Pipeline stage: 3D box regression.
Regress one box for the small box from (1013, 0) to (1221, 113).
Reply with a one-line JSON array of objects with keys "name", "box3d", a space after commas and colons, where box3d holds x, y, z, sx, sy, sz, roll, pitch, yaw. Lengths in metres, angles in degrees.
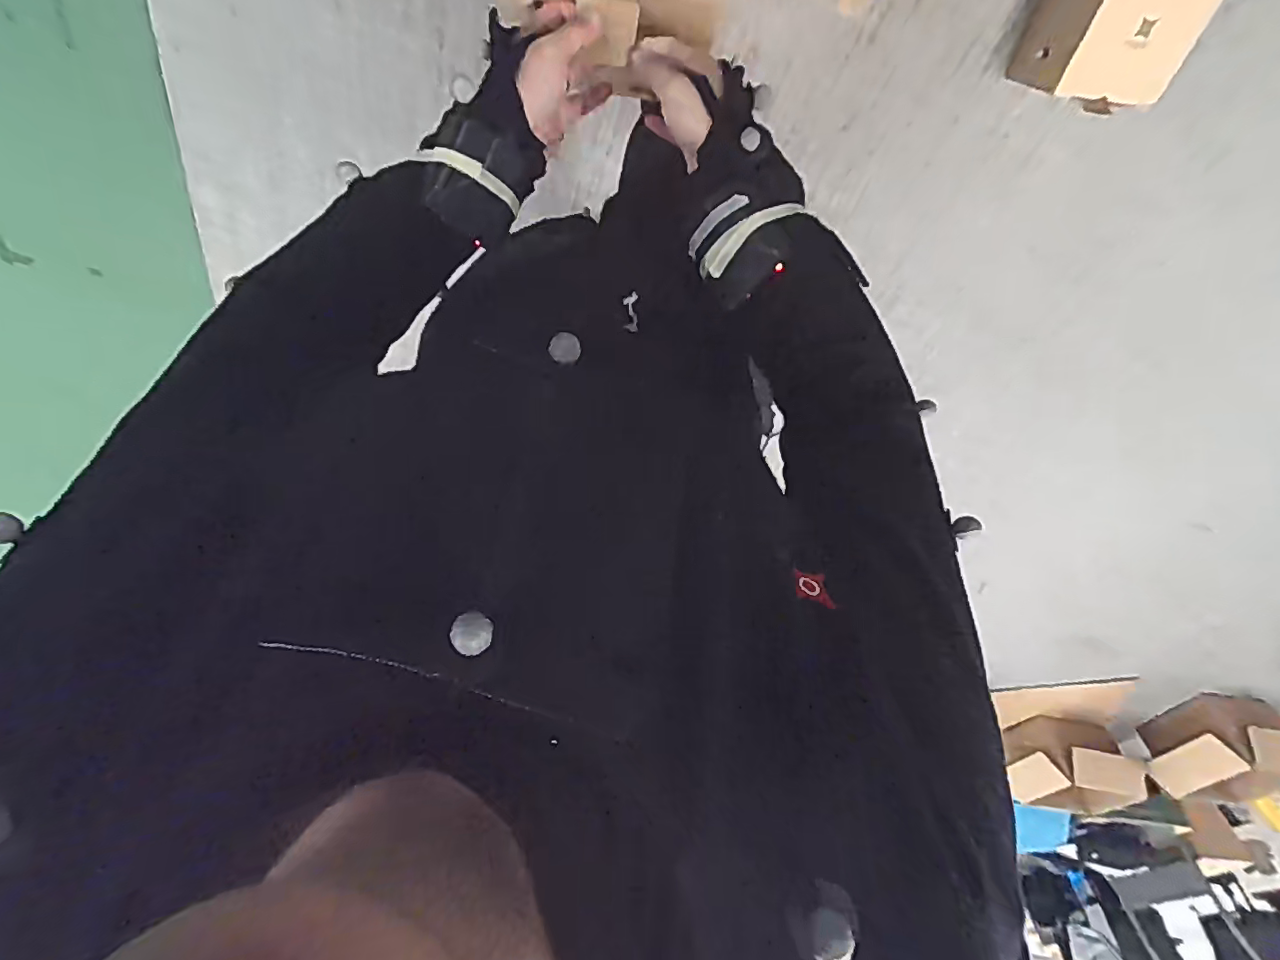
[{"name": "small box", "box3d": [0.726, -0.700, 0.840, 0.168, 0.176, 0.179, 6, 133, -3]}]
